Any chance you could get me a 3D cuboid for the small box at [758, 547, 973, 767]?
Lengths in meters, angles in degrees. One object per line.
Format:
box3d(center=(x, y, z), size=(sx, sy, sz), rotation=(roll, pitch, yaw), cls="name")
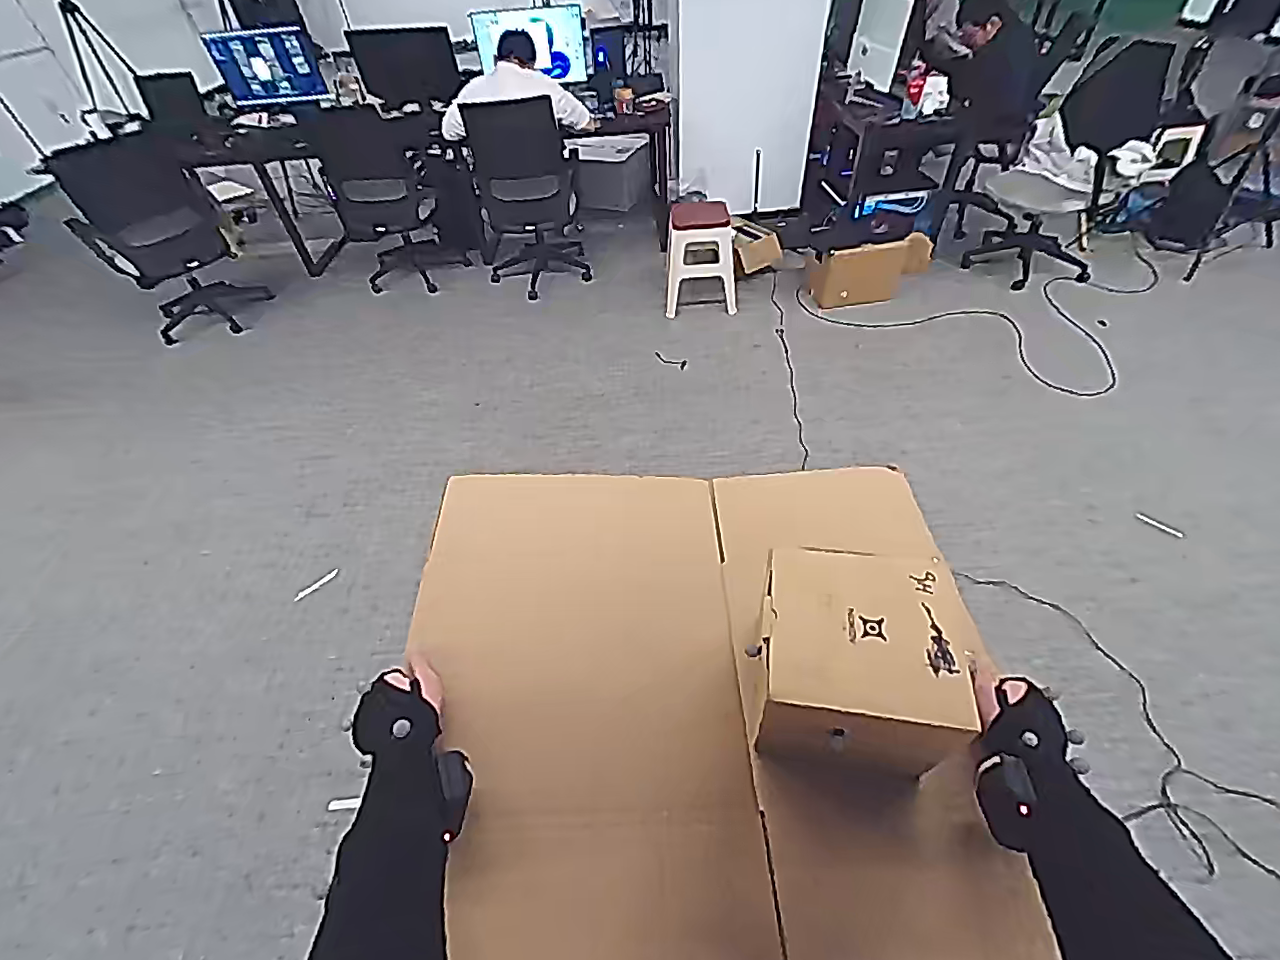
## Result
box3d(center=(0.221, 0.191, 0.580), size=(0.179, 0.176, 0.168), rotation=(4, 51, 11), cls="small box")
